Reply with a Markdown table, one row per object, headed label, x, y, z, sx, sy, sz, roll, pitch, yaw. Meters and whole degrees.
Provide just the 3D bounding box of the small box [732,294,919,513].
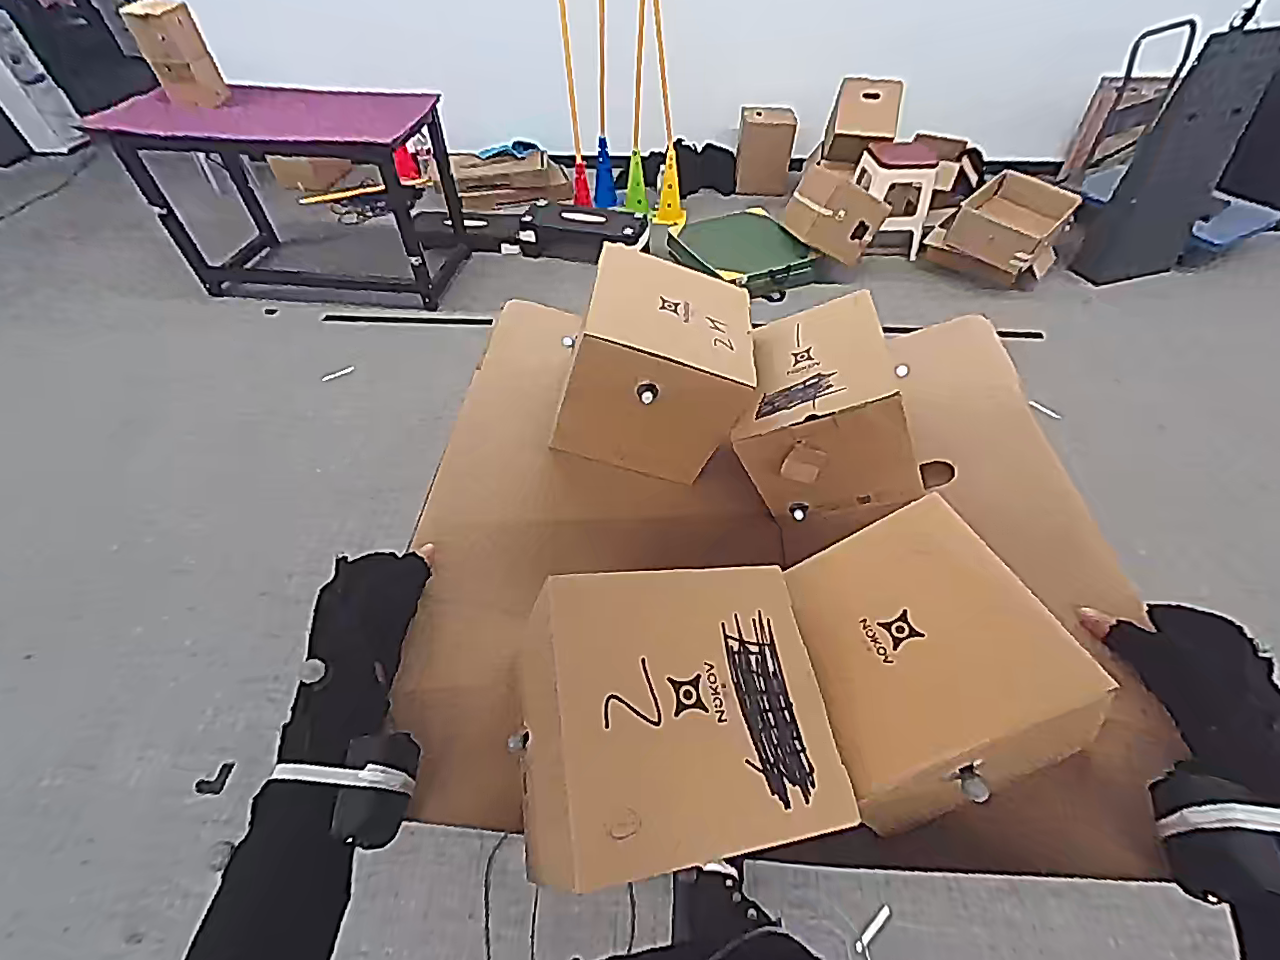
| label | x | y | z | sx | sy | sz | roll | pitch | yaw |
| --- | --- | --- | --- | --- | --- | --- | --- | --- | --- |
| small box | 0.216 | -0.077 | 0.640 | 0.168 | 0.176 | 0.179 | -15 | 46 | 25 |
